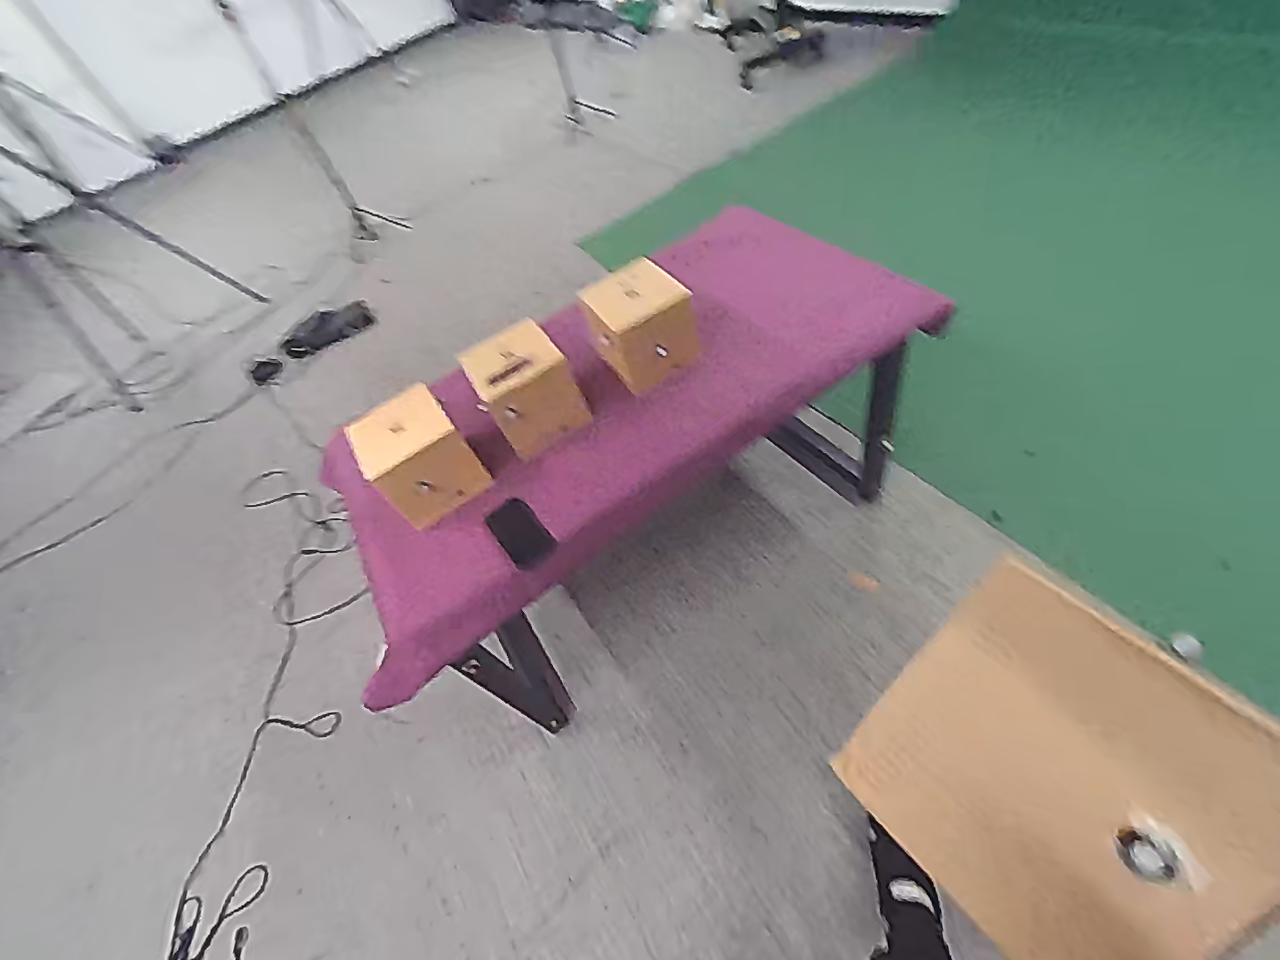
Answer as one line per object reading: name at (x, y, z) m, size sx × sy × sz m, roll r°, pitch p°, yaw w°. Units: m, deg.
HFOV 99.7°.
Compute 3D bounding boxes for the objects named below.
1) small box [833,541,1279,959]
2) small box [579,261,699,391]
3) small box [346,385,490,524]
small box at (0.258, 0.158, 0.342) m, size 0.176 × 0.168 × 0.179 m, roll 42°, pitch 105°, yaw 37°
small box at (0.003, -0.307, 1.106) m, size 0.168 × 0.176 × 0.179 m, roll -30°, pitch 50°, yaw -8°
small box at (-0.412, -0.041, 1.023) m, size 0.168 × 0.176 × 0.179 m, roll -35°, pitch 51°, yaw -12°
